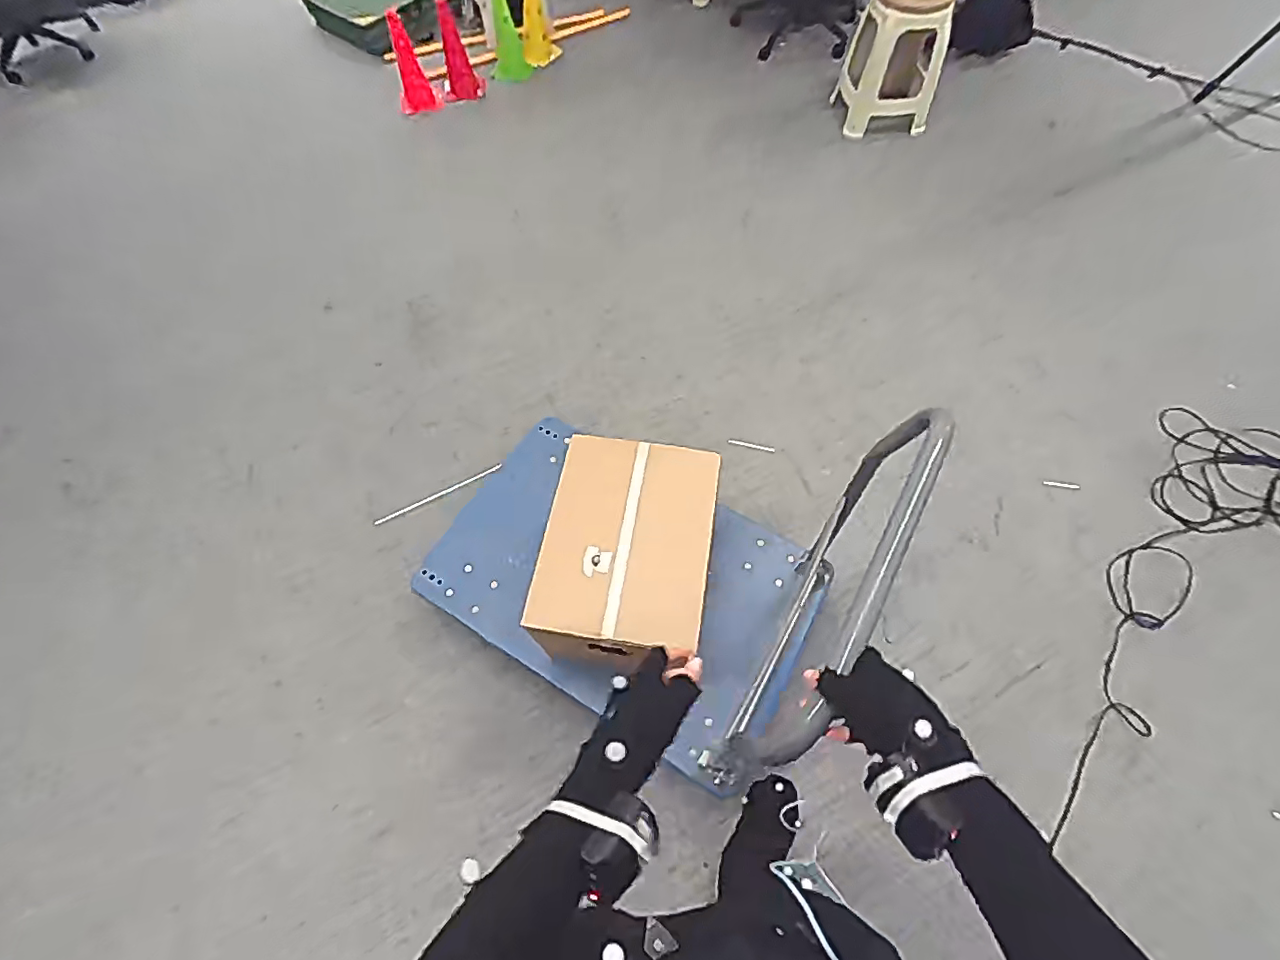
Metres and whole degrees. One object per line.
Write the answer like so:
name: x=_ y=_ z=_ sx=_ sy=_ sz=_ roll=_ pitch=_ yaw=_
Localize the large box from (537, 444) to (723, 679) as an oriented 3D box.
large box: x=-0.005 y=0.181 z=1.164 sx=0.320 sy=0.320 sz=0.408 roll=6 pitch=63 yaw=6
